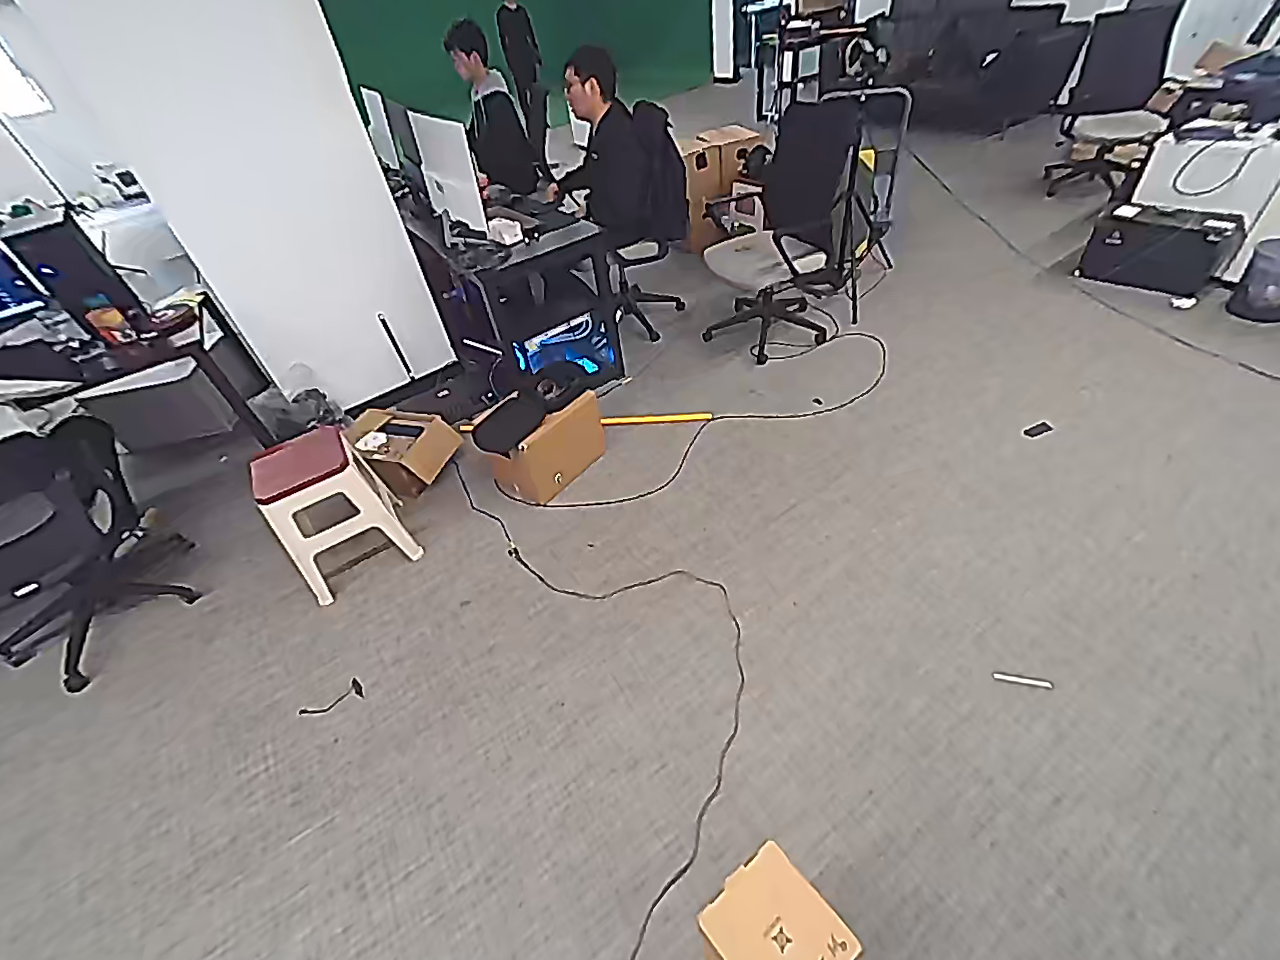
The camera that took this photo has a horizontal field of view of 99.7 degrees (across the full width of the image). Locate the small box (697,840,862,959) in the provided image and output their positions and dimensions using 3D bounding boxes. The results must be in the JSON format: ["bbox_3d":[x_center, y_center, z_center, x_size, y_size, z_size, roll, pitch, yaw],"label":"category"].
[{"bbox_3d":[0.207,0.714,0.836,0.168,0.176,0.179,-32,48,-23],"label":"small box"}]
